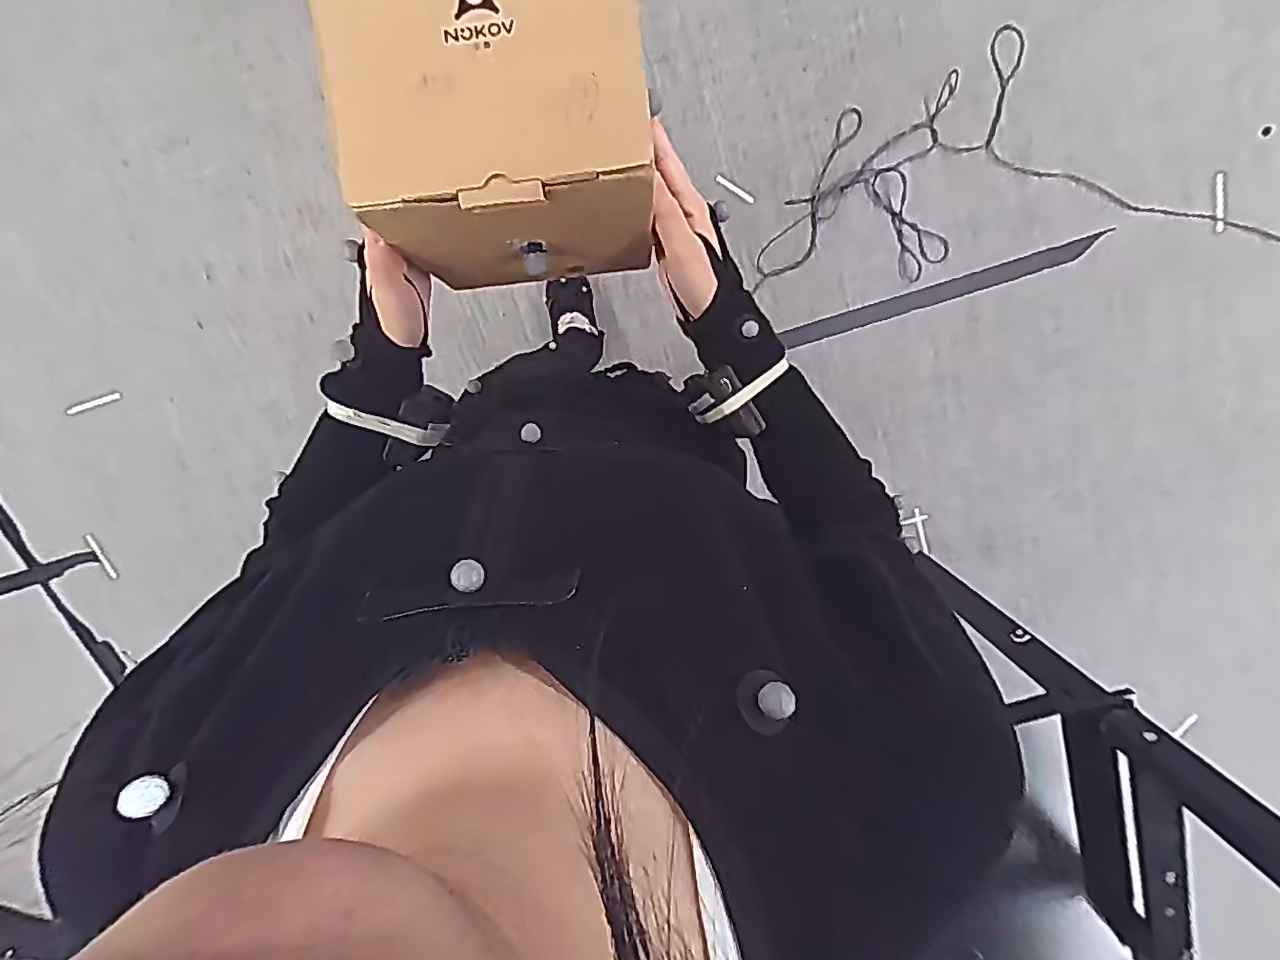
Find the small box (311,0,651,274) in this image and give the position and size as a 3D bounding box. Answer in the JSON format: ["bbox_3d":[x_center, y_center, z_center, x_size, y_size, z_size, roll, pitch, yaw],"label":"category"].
[{"bbox_3d":[-0.081,-0.244,0.350,0.168,0.176,0.179,-6,96,1],"label":"small box"}]
